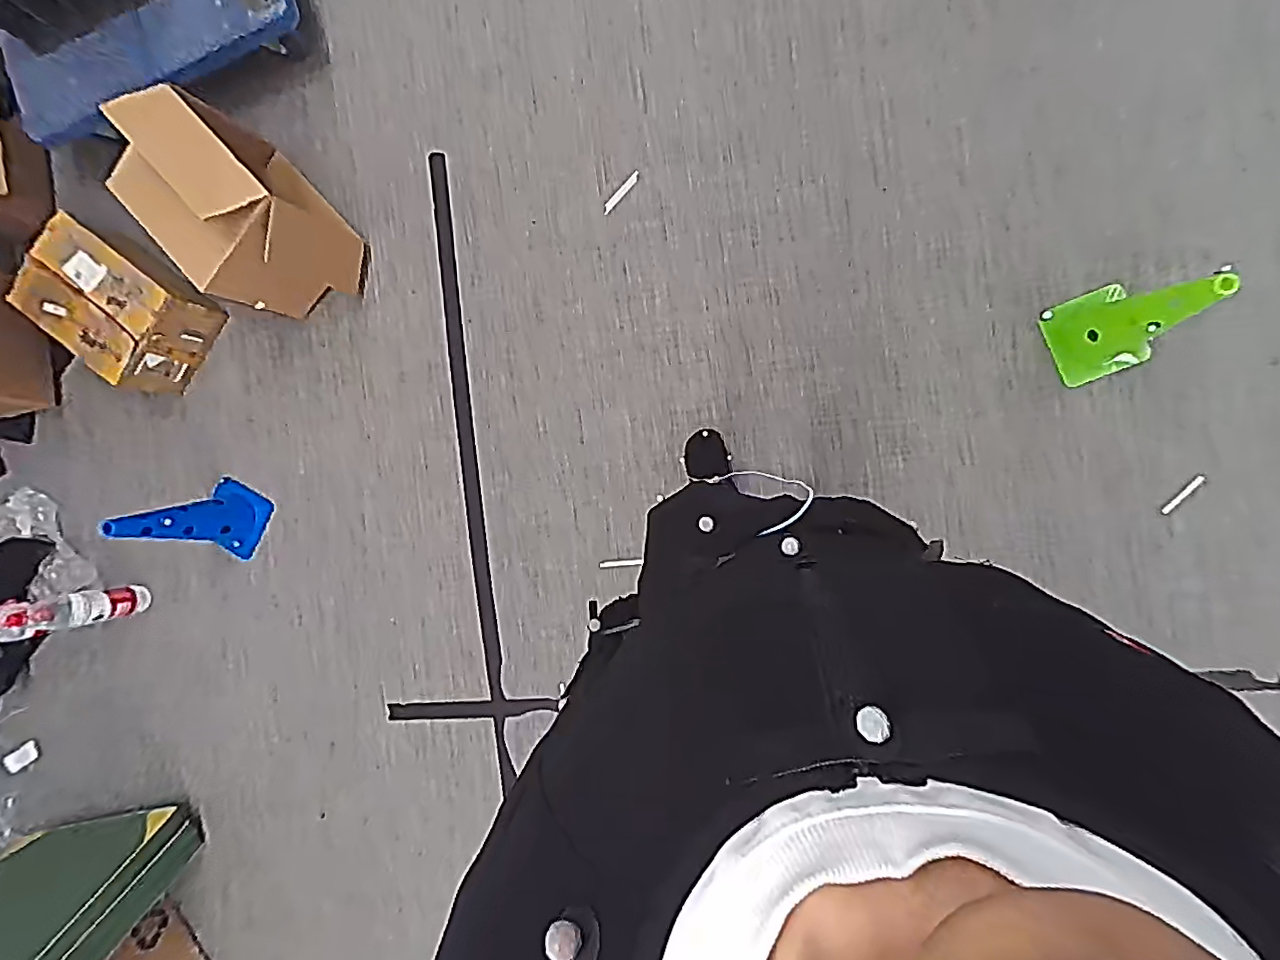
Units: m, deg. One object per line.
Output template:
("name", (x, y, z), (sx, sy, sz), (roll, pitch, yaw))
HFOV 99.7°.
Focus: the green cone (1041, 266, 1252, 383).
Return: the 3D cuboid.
("green cone", (1.073, -0.353, 1.128), (0.202, 0.368, 0.200), (-22, 88, 7))
